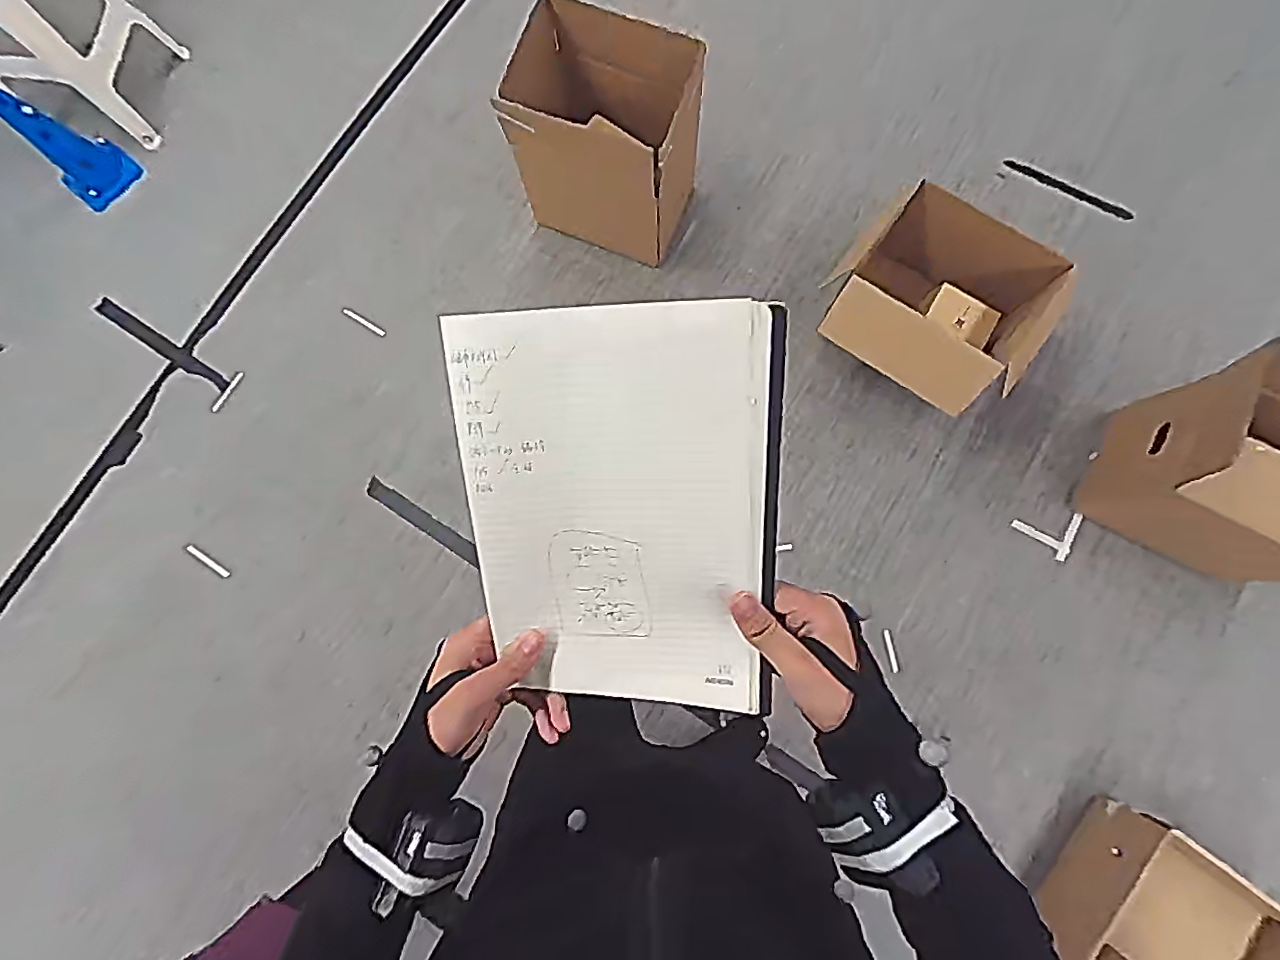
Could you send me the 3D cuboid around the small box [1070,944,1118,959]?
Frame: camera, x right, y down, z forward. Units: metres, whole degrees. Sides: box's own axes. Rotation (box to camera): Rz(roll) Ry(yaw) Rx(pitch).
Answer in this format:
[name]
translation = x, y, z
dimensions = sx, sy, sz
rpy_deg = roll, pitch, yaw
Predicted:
[small box]
translation = 1.006, 1.124, 1.121
dimensions = 0.168, 0.176, 0.179
rpy_deg = -44, 81, -6
